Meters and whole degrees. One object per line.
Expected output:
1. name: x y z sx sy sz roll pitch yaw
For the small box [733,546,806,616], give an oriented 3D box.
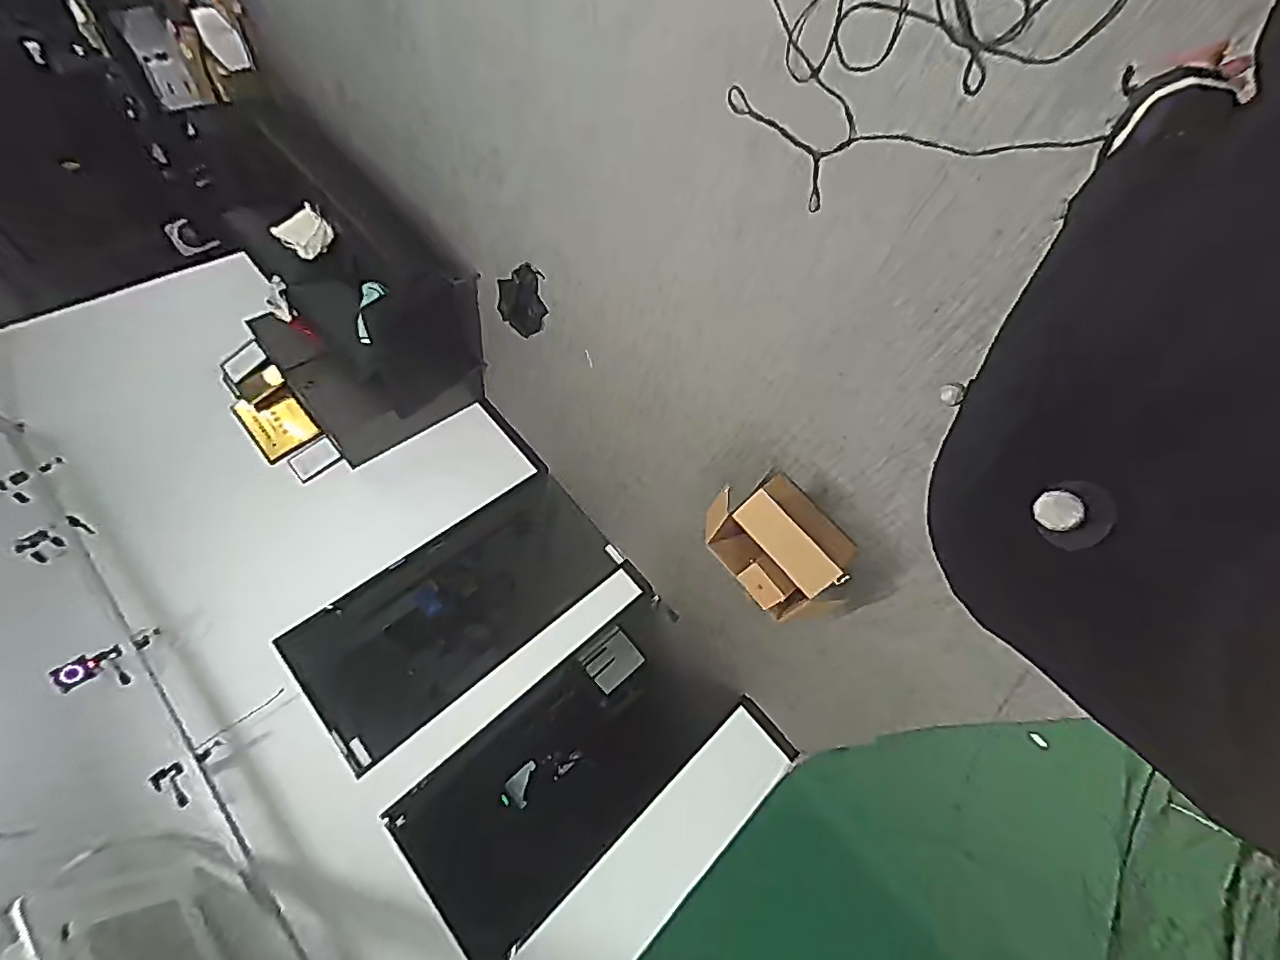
1. small box: 0.487 0.378 2.026 0.168 0.176 0.179 51 150 13
